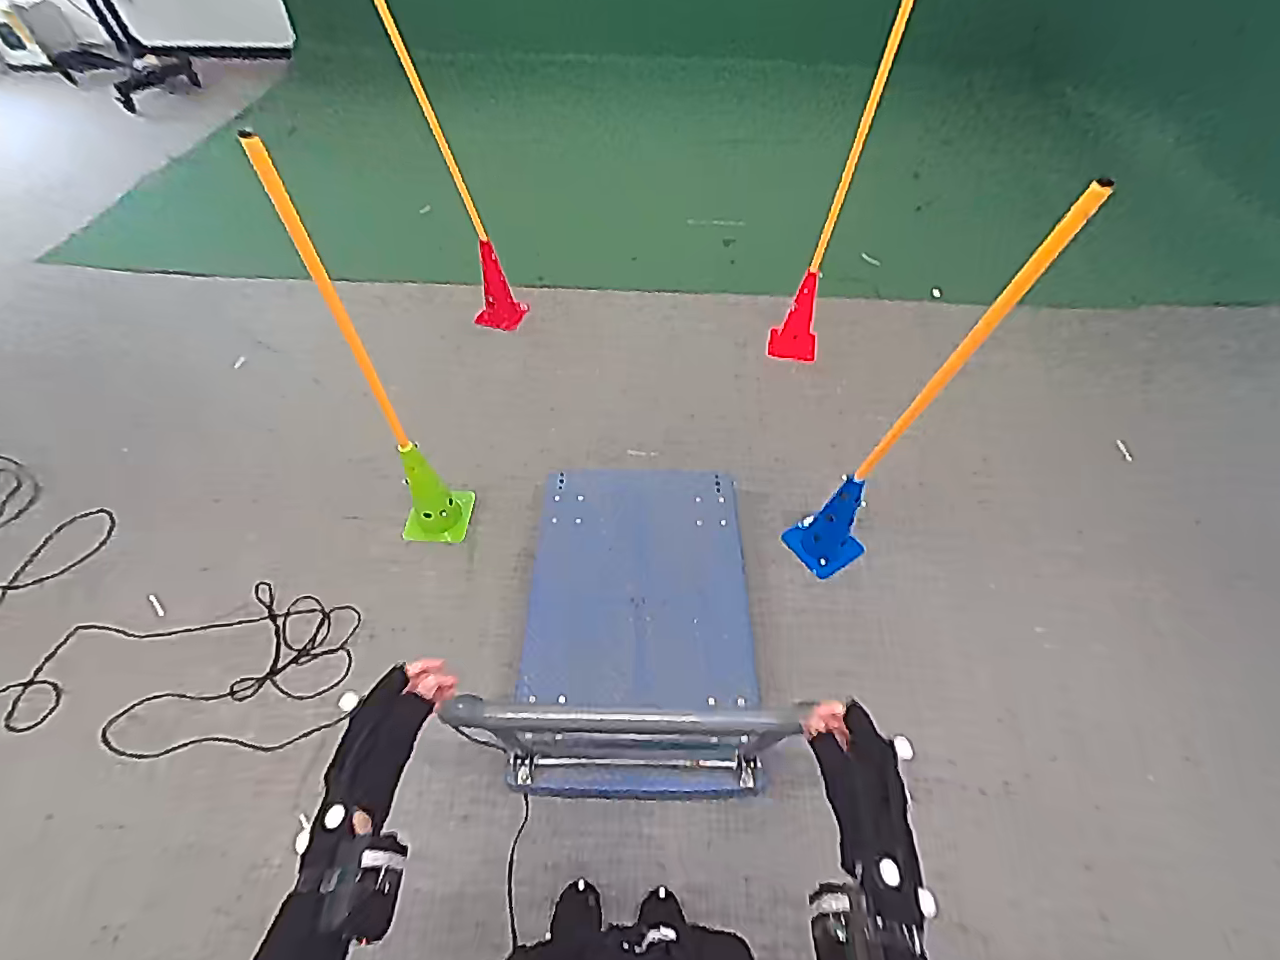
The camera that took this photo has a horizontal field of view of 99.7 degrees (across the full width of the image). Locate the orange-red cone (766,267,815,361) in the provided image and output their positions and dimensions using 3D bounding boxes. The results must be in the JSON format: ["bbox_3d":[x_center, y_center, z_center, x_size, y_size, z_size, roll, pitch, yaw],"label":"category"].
[{"bbox_3d":[0.647,-0.687,2.185,0.198,0.360,0.199,11,54,9],"label":"orange-red cone"}]
